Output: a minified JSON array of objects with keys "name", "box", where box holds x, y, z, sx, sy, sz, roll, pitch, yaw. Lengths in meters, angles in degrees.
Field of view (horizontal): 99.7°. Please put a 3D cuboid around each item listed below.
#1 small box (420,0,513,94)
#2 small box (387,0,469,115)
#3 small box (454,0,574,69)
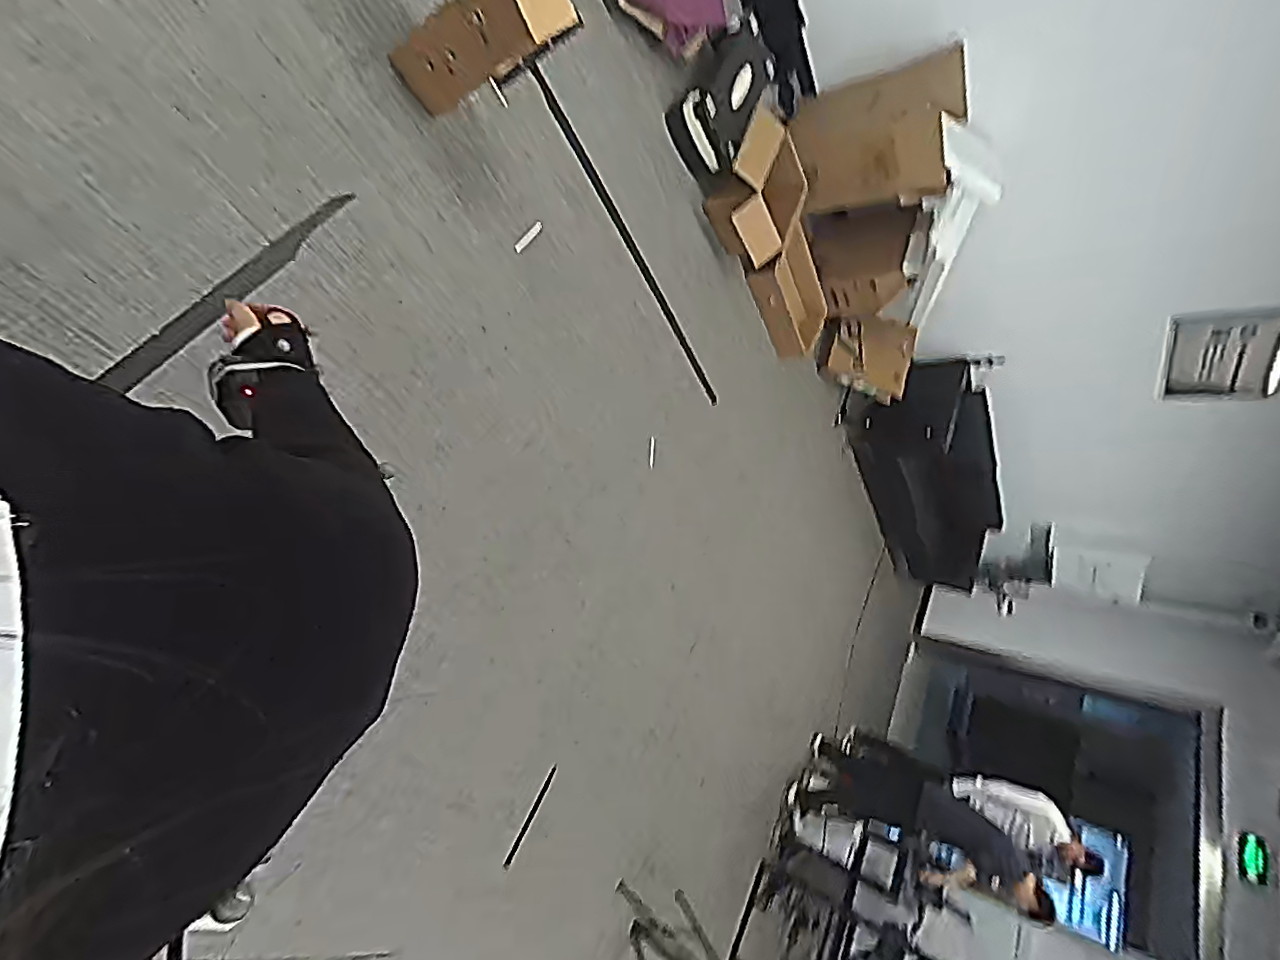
[{"name":"small box","box":[-0.413,-1.118,1.356,0.168,0.176,0.179,52,57,-40]},{"name":"small box","box":[-0.541,-1.135,1.458,0.179,0.176,0.168,49,59,-42]},{"name":"small box","box":[-0.292,-1.098,1.249,0.179,0.176,0.168,-55,132,-28]}]
